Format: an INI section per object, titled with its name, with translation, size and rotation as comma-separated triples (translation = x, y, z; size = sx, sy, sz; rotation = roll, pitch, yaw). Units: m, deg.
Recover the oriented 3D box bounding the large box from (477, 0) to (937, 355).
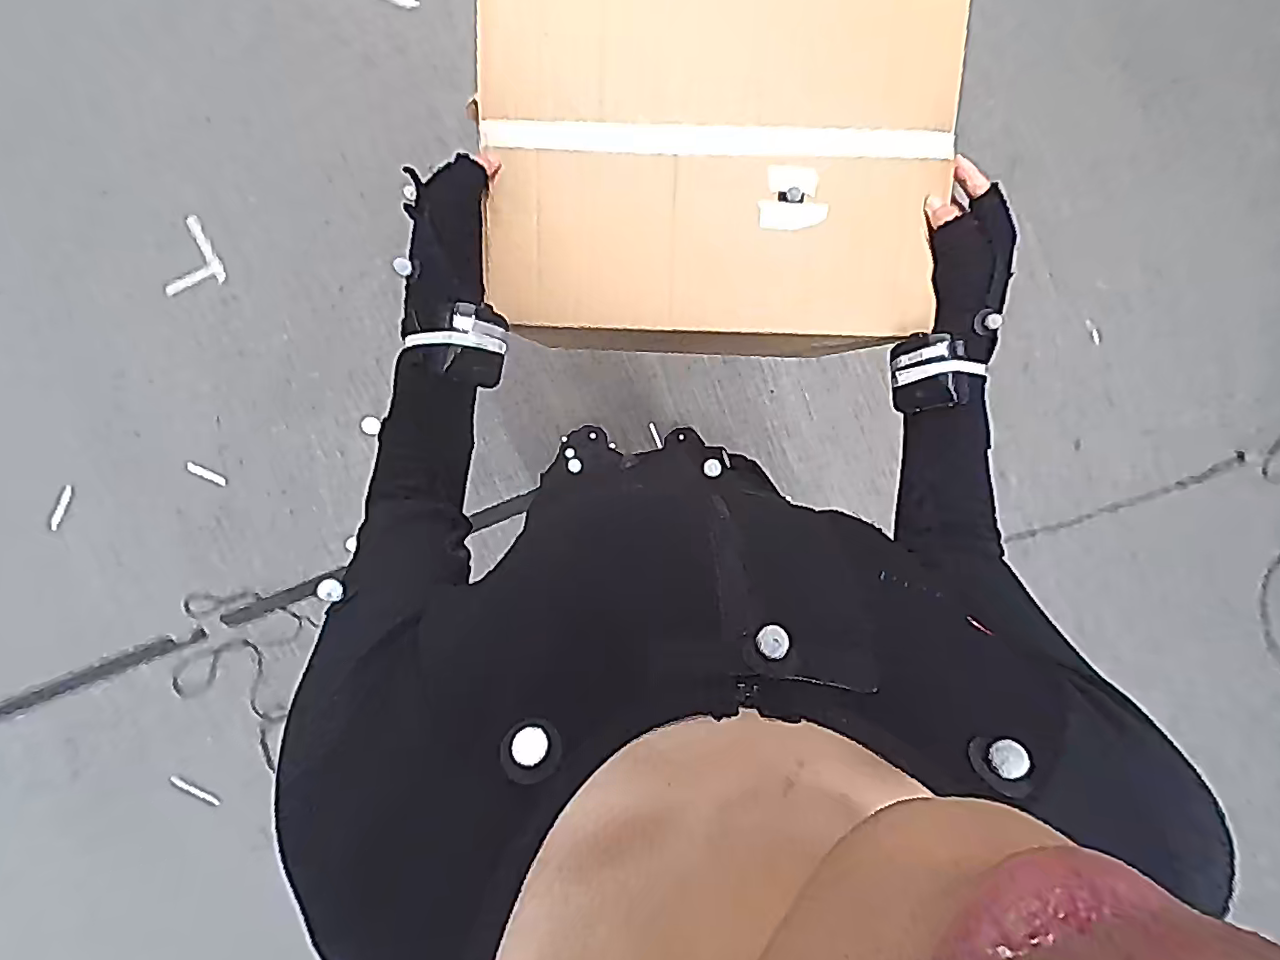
[large box]
translation = 0.056, -0.317, 0.629
size = 0.408, 0.320, 0.320
rotation = 0, 100, -1
